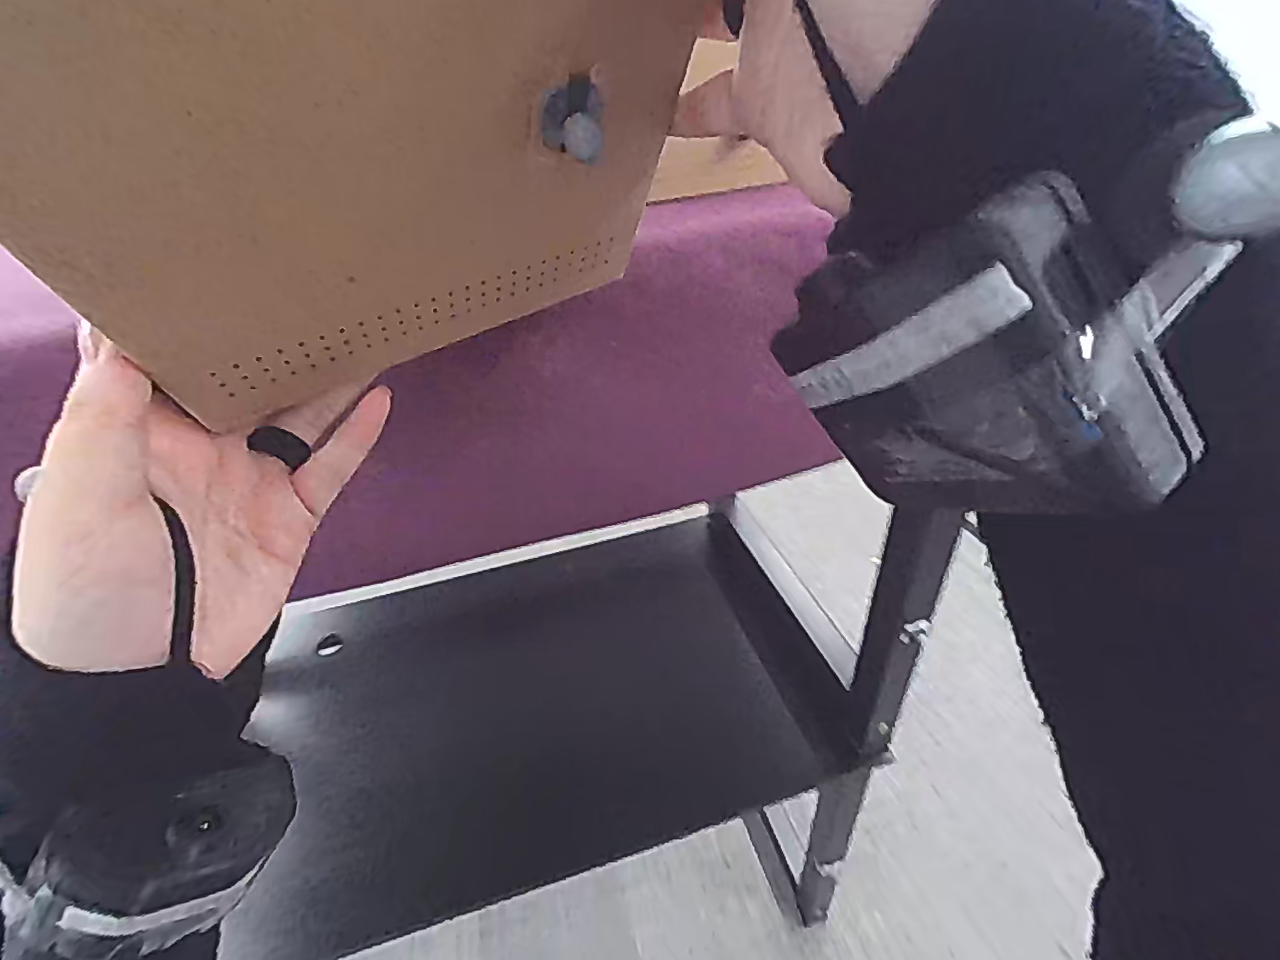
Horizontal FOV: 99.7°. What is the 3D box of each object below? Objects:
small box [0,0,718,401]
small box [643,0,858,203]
[{"bbox_3d":[-0.093,-0.153,0.156,0.179,0.176,0.168,-29,79,-23],"label":"small box"},{"bbox_3d":[0.046,-0.325,0.418,0.179,0.176,0.168,-14,35,-12],"label":"small box"}]
